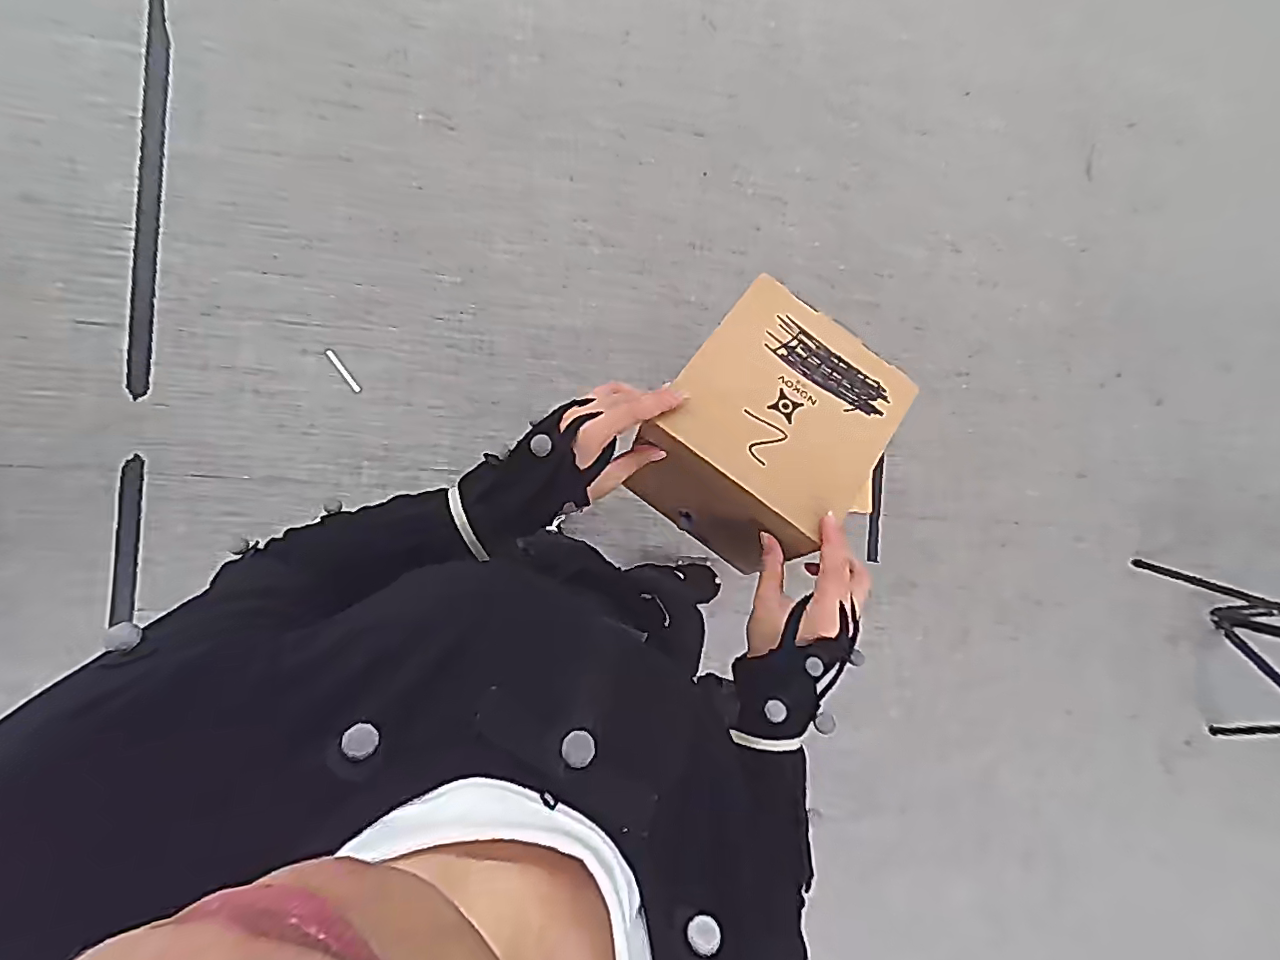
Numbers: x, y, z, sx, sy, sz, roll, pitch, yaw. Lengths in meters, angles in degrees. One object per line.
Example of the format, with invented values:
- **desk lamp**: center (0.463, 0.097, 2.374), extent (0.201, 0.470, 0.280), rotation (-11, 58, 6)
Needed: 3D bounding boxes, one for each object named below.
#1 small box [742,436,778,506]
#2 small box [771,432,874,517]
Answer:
- **small box**: center (0.367, -0.014, 1.356), extent (0.179, 0.176, 0.168), rotation (6, 91, -8)
- **small box**: center (0.395, -0.012, 1.196), extent (0.168, 0.176, 0.179), rotation (-1, 92, -7)
